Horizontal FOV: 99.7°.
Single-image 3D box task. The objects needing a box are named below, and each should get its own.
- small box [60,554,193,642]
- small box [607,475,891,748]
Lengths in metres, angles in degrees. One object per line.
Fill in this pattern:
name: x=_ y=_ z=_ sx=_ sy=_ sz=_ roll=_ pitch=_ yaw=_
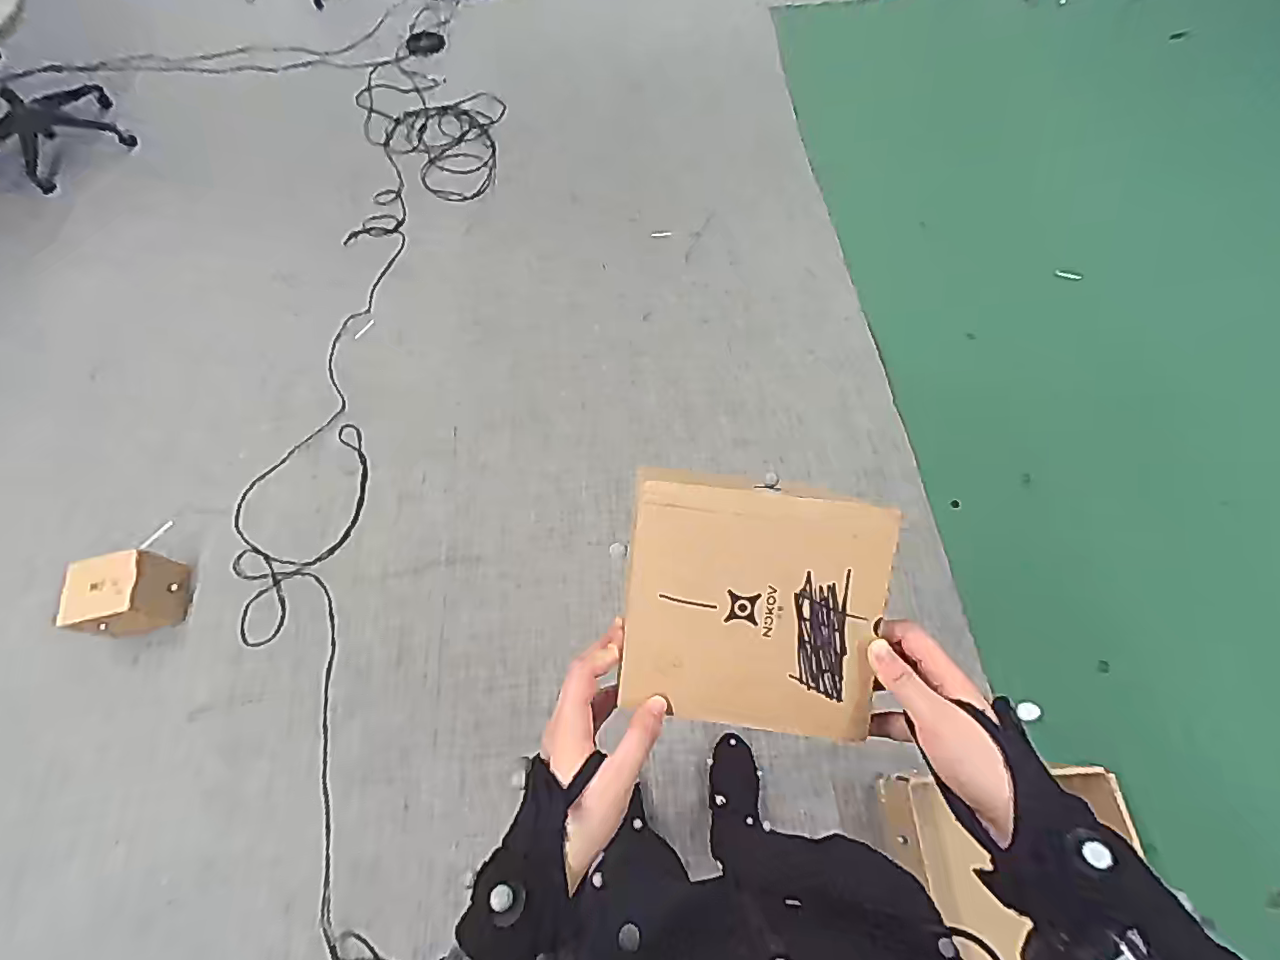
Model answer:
small box: x=-1.330 y=0.314 z=1.413 sx=0.179 sy=0.176 sz=0.168 roll=-14 pitch=65 yaw=-3
small box: x=0.071 y=0.089 z=0.444 sx=0.179 sy=0.176 sz=0.168 roll=6 pitch=95 yaw=-1
